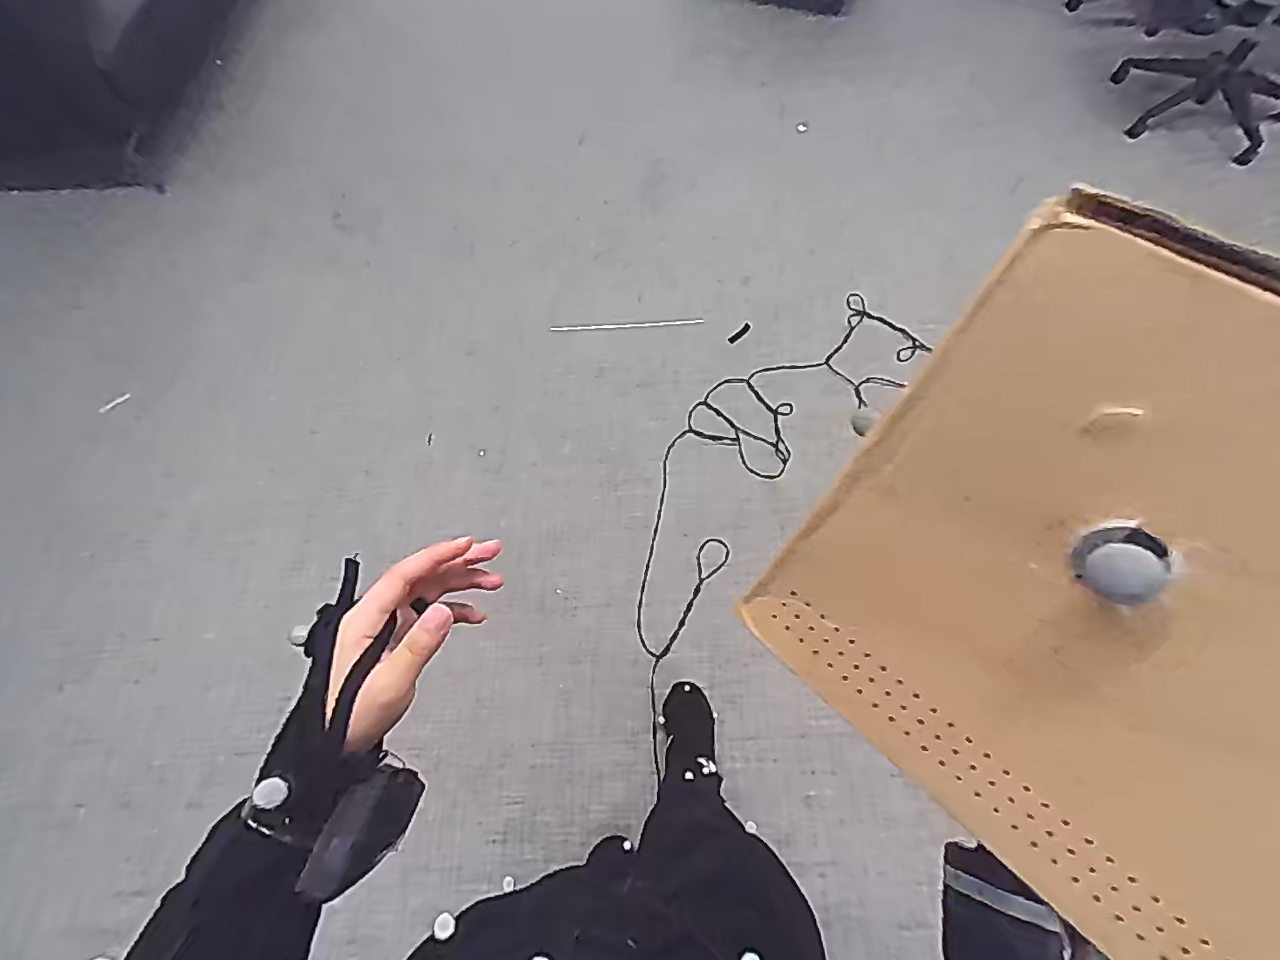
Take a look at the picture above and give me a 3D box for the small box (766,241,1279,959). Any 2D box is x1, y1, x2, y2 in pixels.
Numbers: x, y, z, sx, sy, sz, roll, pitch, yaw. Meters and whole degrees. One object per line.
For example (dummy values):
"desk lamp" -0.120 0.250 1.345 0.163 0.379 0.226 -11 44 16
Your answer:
"small box" 0.181 0.032 0.220 0.179 0.176 0.168 39 32 21
